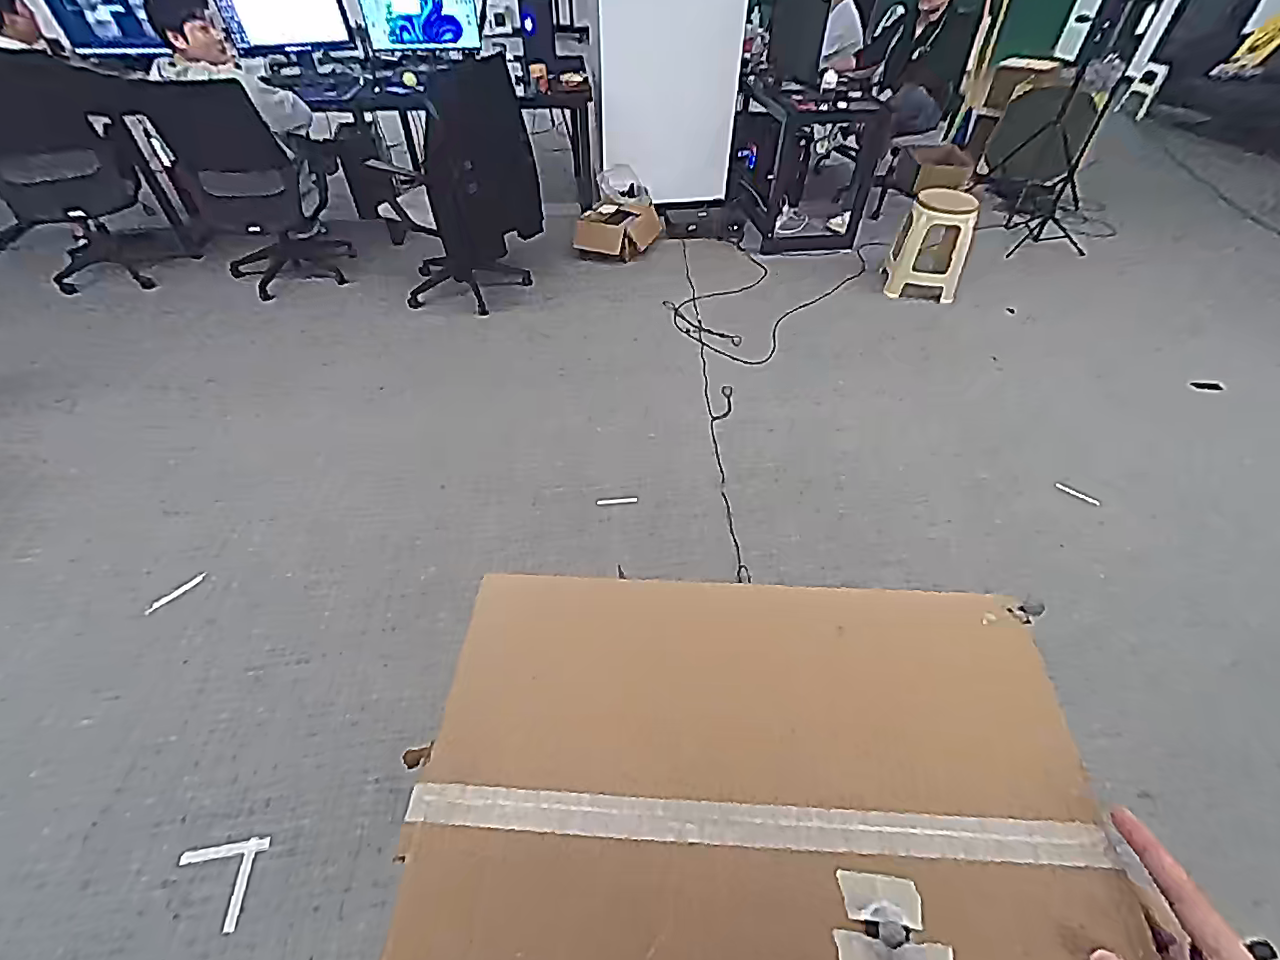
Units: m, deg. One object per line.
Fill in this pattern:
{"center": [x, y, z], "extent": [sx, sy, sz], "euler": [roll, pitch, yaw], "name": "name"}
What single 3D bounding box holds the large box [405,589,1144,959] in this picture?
{"center": [0.074, 0.302, 0.445], "extent": [0.408, 0.320, 0.320], "euler": [2, 53, 3], "name": "large box"}
